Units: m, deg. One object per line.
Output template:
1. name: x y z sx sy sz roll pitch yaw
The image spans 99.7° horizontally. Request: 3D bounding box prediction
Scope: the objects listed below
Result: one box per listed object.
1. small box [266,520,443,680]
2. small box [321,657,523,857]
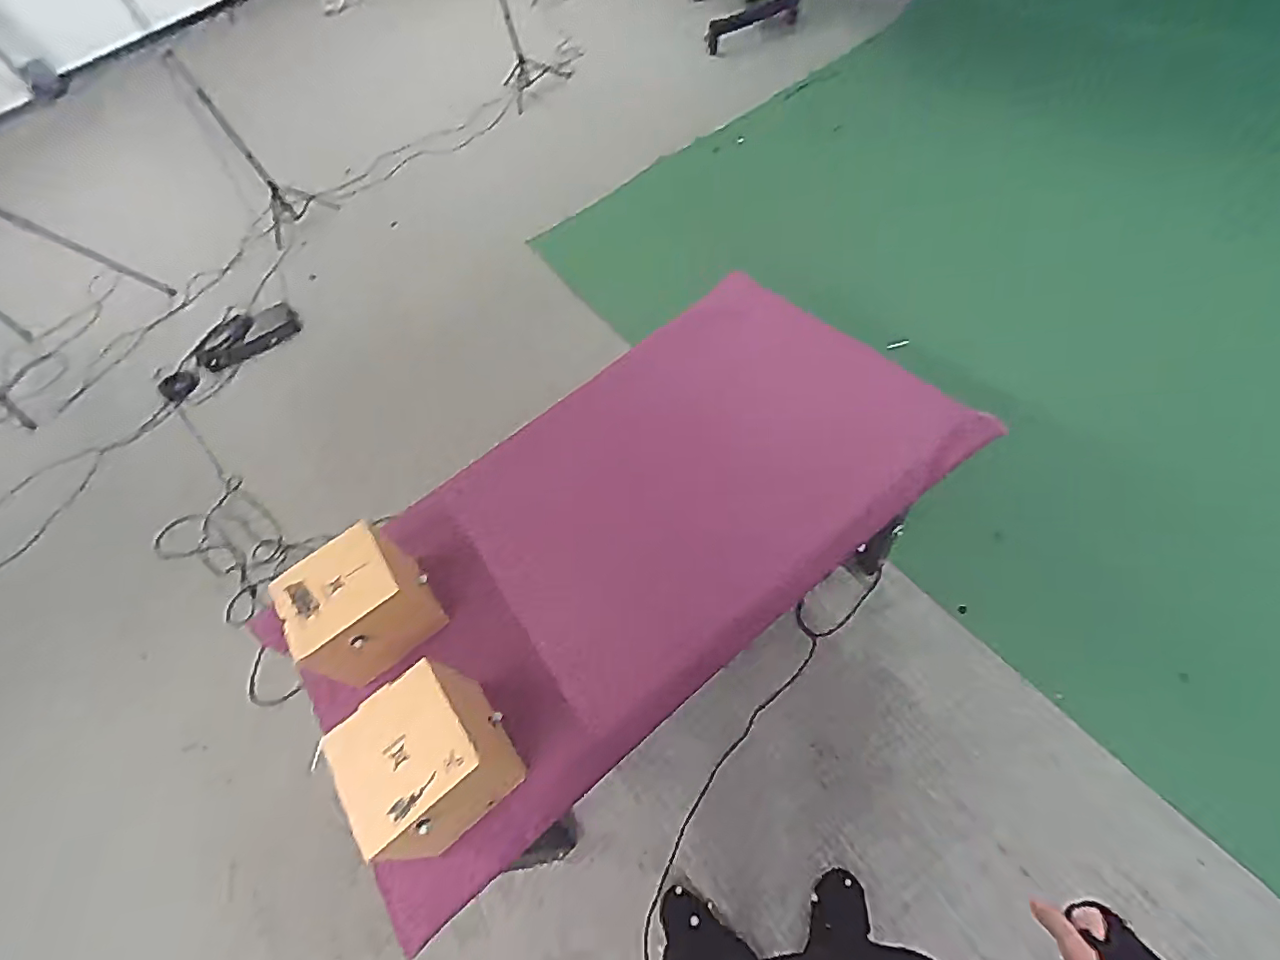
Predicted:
1. small box: -0.468 0.206 0.903 0.179 0.176 0.168 -37 59 -12
2. small box: -0.295 0.386 0.755 0.168 0.176 0.179 -39 58 -12
